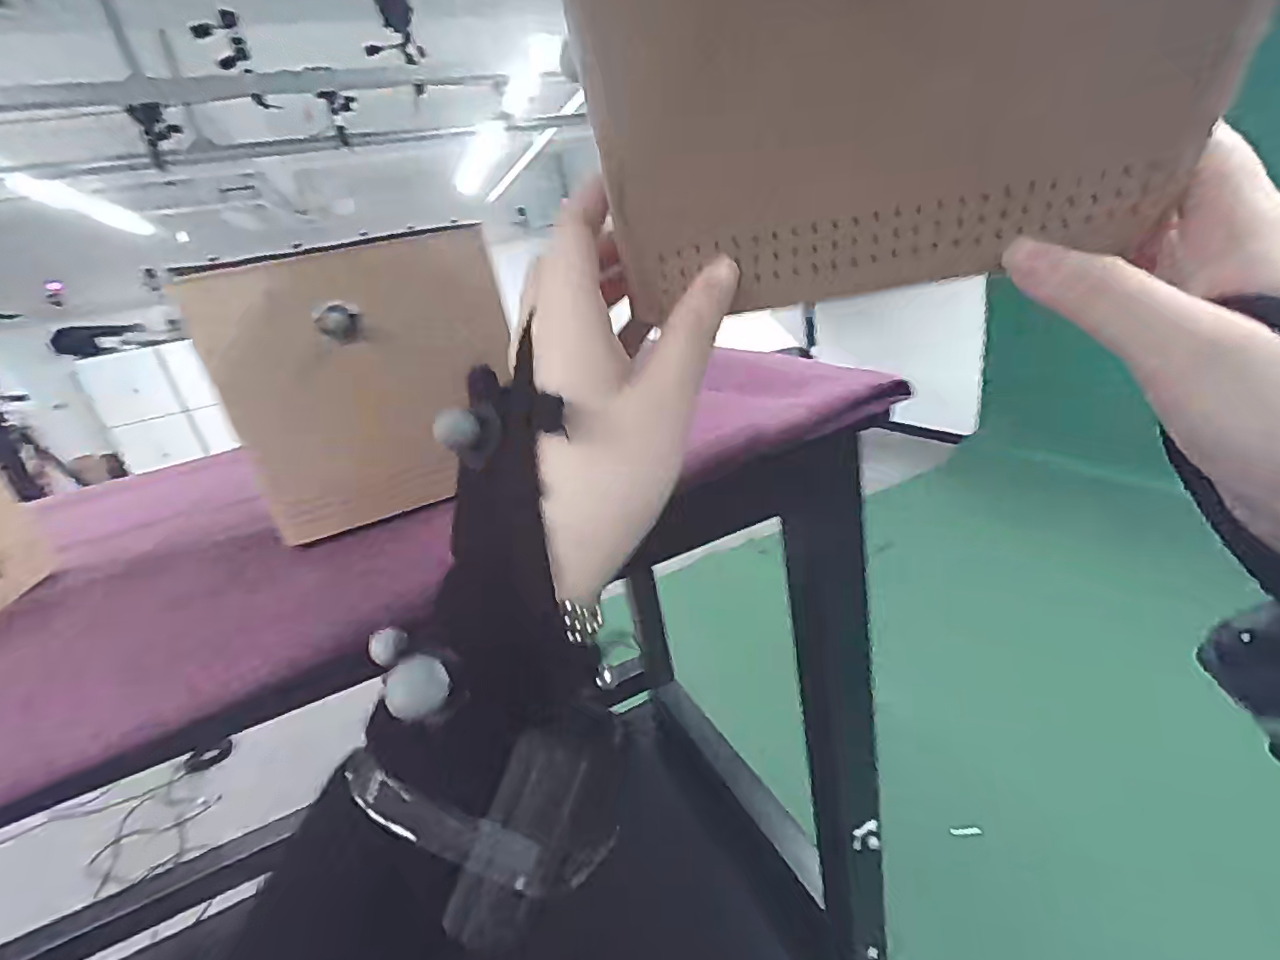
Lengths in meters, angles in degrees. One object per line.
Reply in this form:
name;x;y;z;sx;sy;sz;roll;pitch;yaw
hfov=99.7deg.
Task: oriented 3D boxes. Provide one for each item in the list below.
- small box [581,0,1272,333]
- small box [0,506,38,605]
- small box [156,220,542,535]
small box;0.075;-0.170;0.188;0.179;0.176;0.168;-7;46;11
small box;-0.493;0.041;0.276;0.179;0.176;0.168;-21;23;-20
small box;-0.193;-0.077;0.409;0.179;0.176;0.168;-19;21;-18
